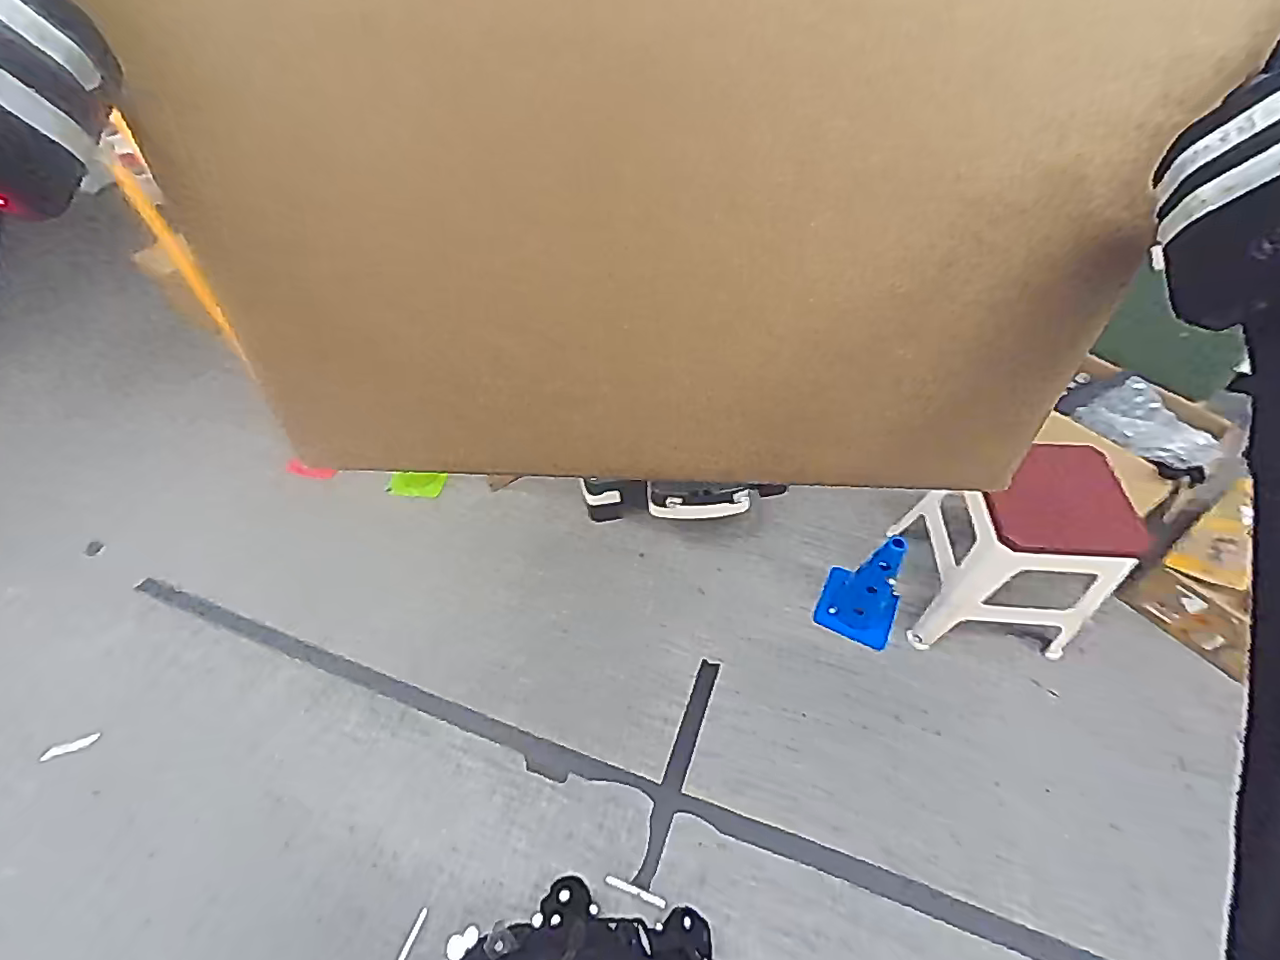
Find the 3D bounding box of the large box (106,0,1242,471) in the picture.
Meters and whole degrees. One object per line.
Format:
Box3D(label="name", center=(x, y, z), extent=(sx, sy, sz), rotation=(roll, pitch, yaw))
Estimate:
Box3D(label="large box", center=(0.009, -0.218, 0.333), extent=(0.408, 0.320, 0.320), rotation=(2, 41, -1))
